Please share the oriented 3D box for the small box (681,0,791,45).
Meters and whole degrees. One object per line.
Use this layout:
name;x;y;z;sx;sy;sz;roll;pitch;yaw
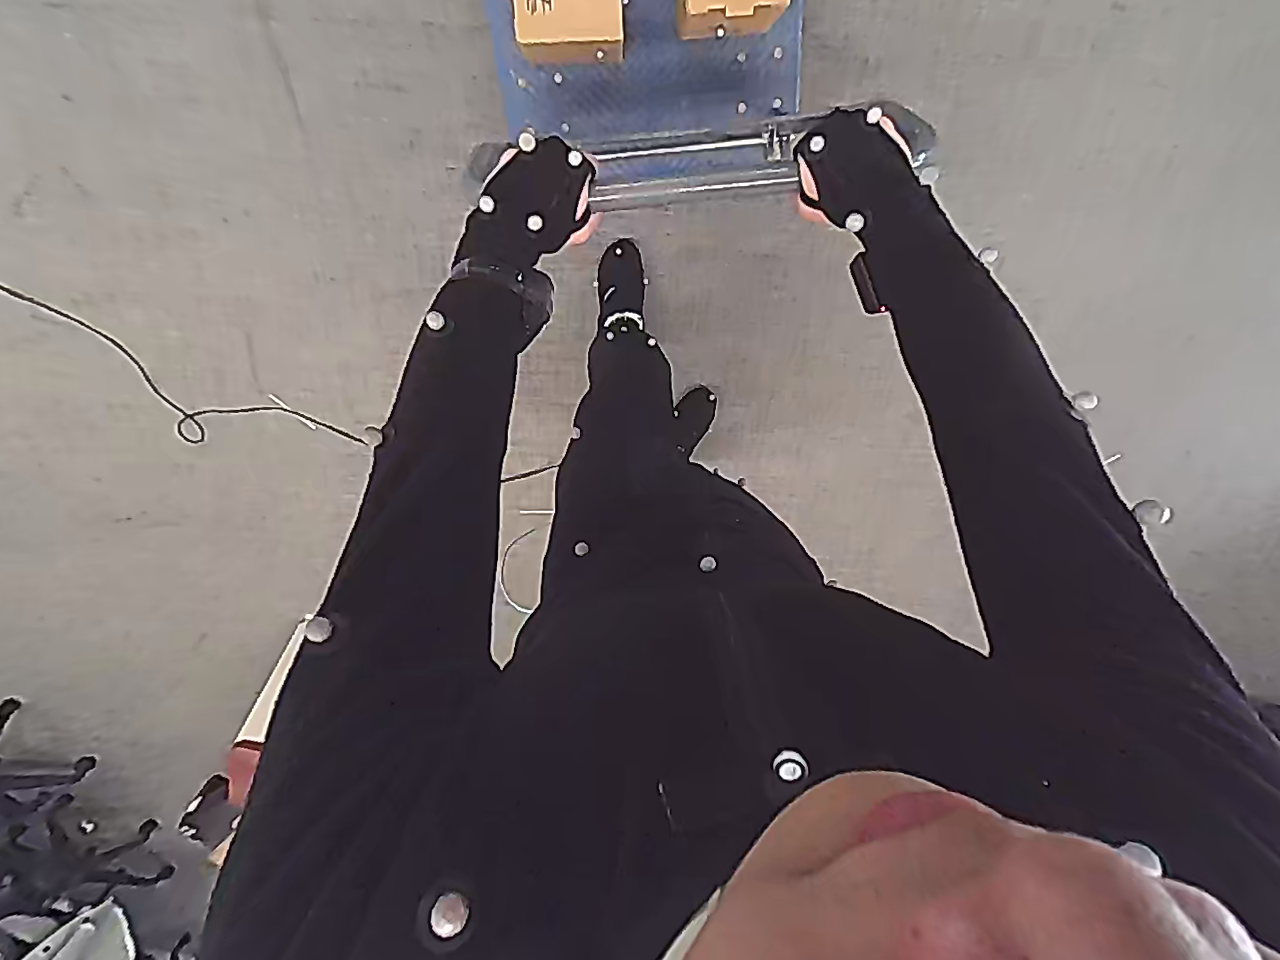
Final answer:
small box;0.155;-0.870;0.913;0.168;0.176;0.179;-5;118;1
